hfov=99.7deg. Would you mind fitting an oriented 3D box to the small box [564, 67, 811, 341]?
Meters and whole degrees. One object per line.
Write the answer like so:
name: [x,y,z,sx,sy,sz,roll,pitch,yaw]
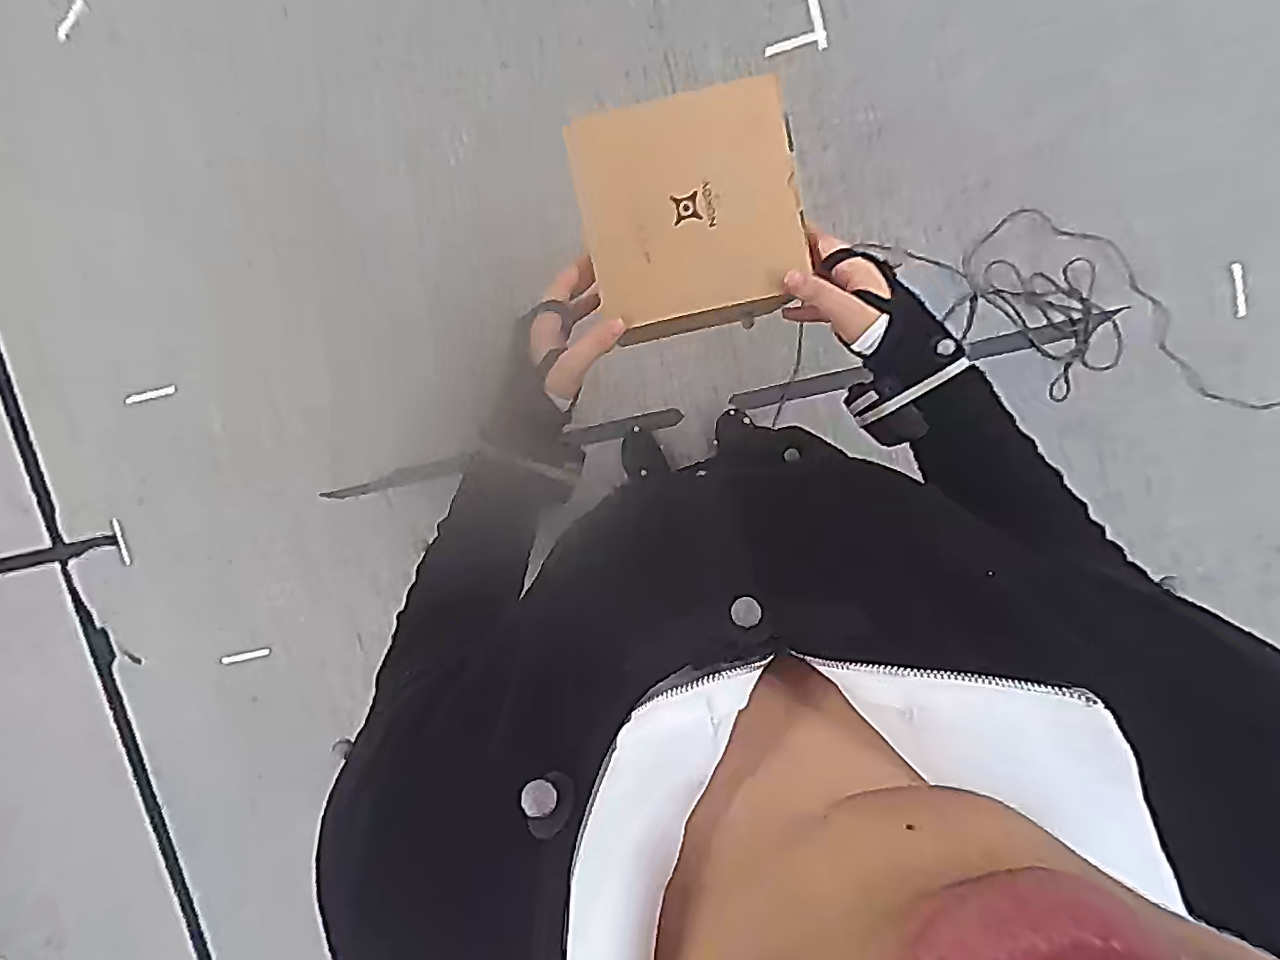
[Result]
small box: [0.041,-0.238,0.515,0.179,0.176,0.168,-13,98,4]
